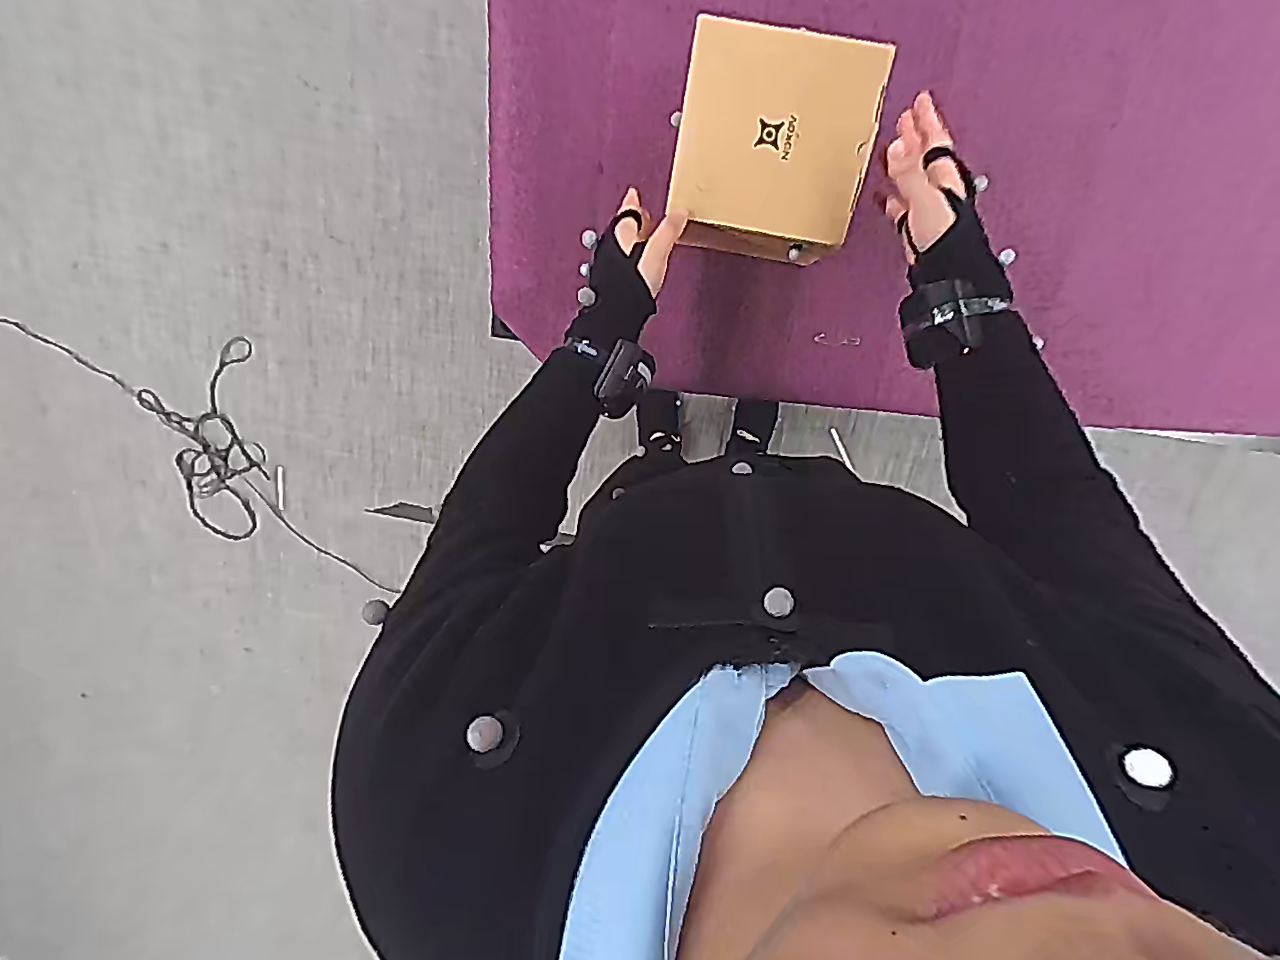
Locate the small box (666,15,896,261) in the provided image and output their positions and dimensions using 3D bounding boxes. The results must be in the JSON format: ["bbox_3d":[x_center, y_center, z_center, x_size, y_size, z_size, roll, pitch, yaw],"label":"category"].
[{"bbox_3d":[0.129,-0.335,0.566,0.179,0.176,0.168,10,107,1],"label":"small box"}]
